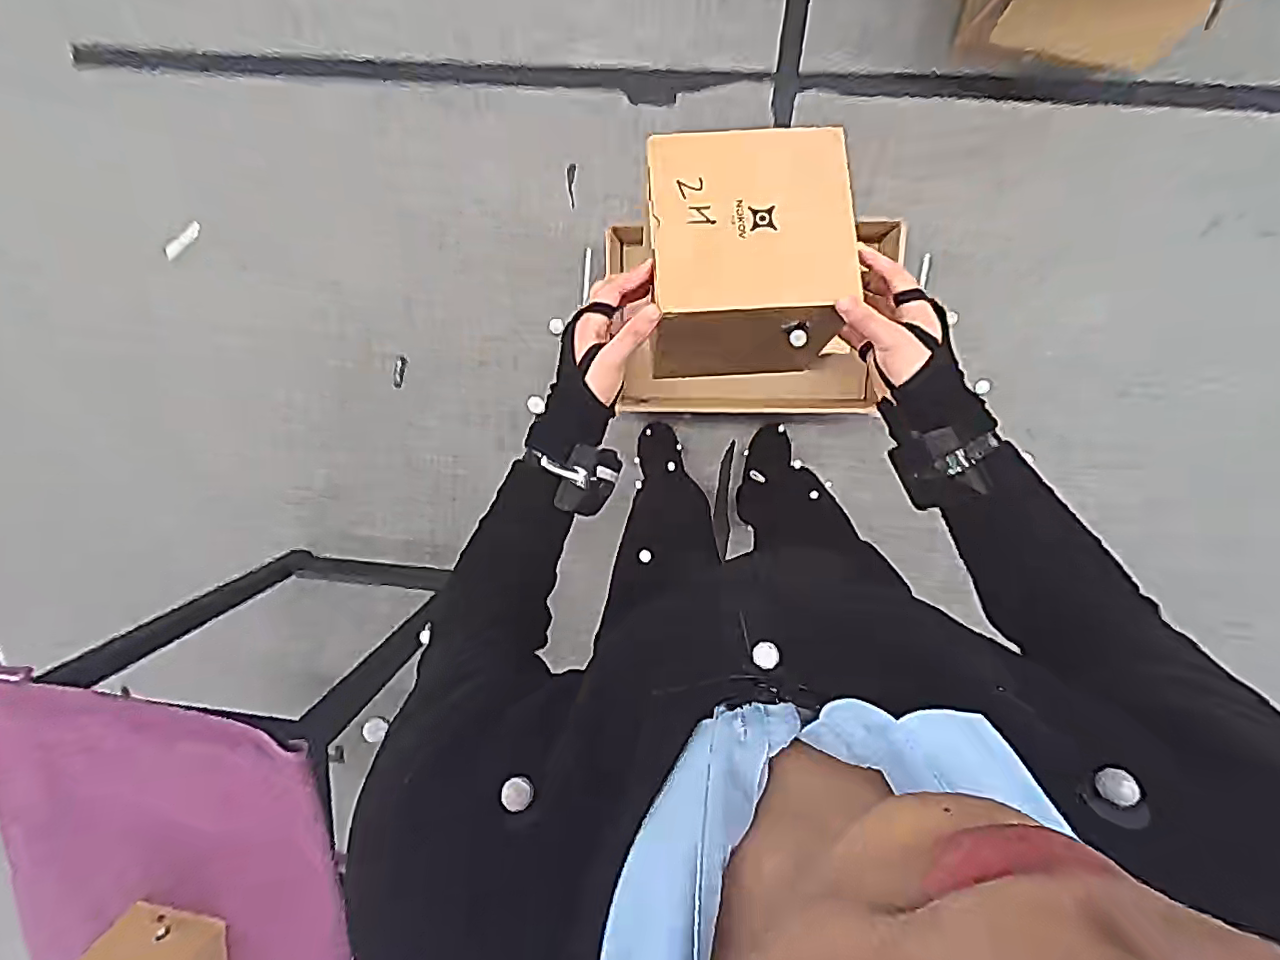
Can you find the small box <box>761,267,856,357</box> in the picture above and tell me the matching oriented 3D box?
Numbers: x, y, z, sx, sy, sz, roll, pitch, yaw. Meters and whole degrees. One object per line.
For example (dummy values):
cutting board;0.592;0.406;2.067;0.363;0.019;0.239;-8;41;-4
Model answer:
small box;0.364;-0.365;1.198;0.168;0.176;0.179;2;103;6
